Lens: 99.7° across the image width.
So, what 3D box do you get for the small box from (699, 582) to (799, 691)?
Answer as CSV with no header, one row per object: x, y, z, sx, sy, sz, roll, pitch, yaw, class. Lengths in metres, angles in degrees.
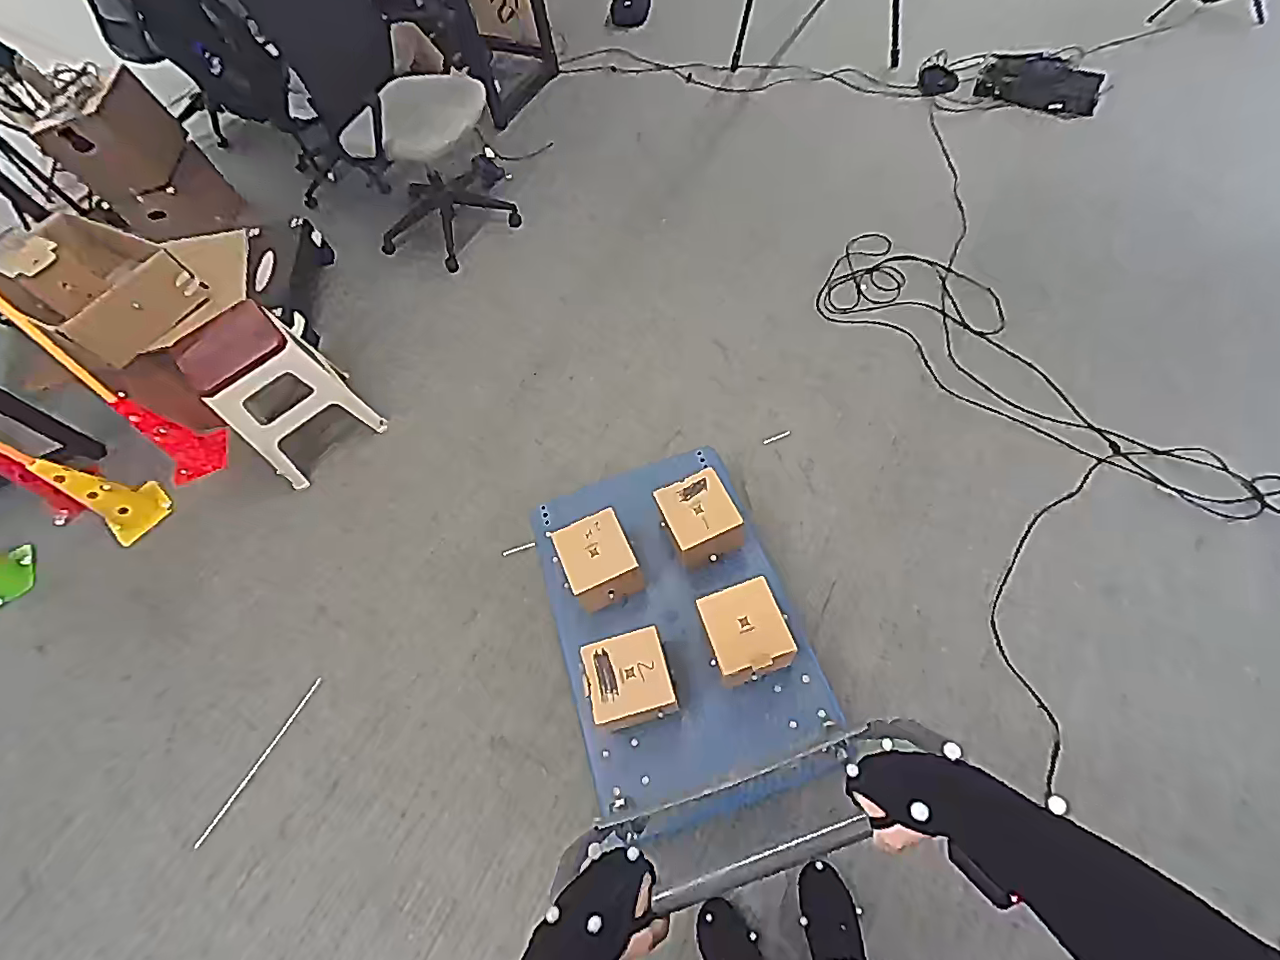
0.240,0.359,1.232,0.168,0.176,0.179,-19,61,-3,small box

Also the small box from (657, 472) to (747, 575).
0.155,0.114,1.377,0.168,0.176,0.179,-23,62,-5,small box

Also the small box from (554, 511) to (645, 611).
-0.097,0.212,1.357,0.168,0.176,0.179,-23,61,-6,small box
